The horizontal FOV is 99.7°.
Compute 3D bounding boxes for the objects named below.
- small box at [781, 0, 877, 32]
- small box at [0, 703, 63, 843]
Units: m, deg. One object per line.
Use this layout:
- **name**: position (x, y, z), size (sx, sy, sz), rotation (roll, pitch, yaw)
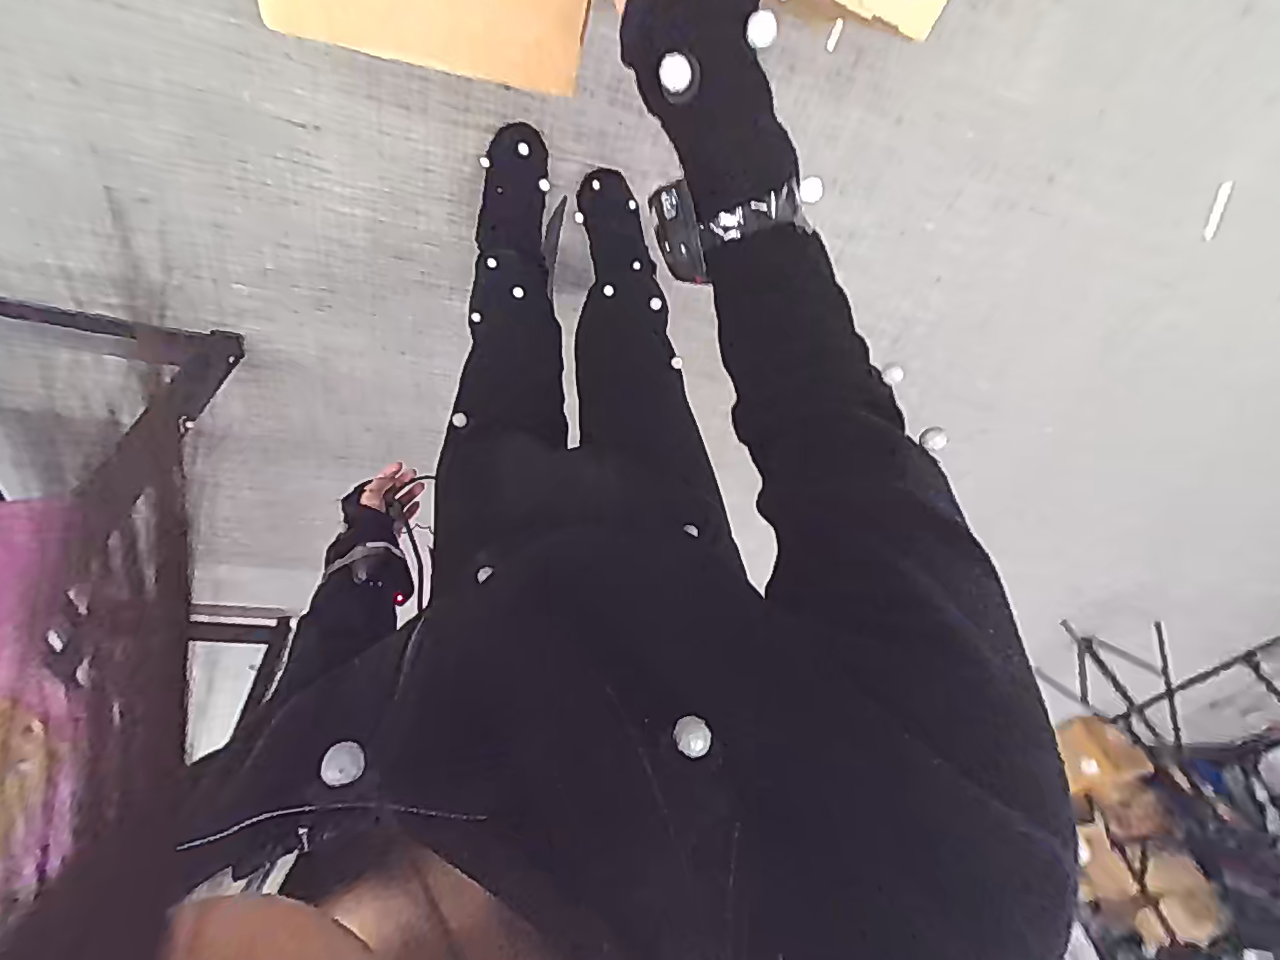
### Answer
- **small box**: position (0.204, -0.654, 0.610), size (0.168, 0.176, 0.179), rotation (10, 132, -19)
- **small box**: position (-0.895, 0.386, 0.664), size (0.179, 0.176, 0.168), rotation (7, 134, -16)
